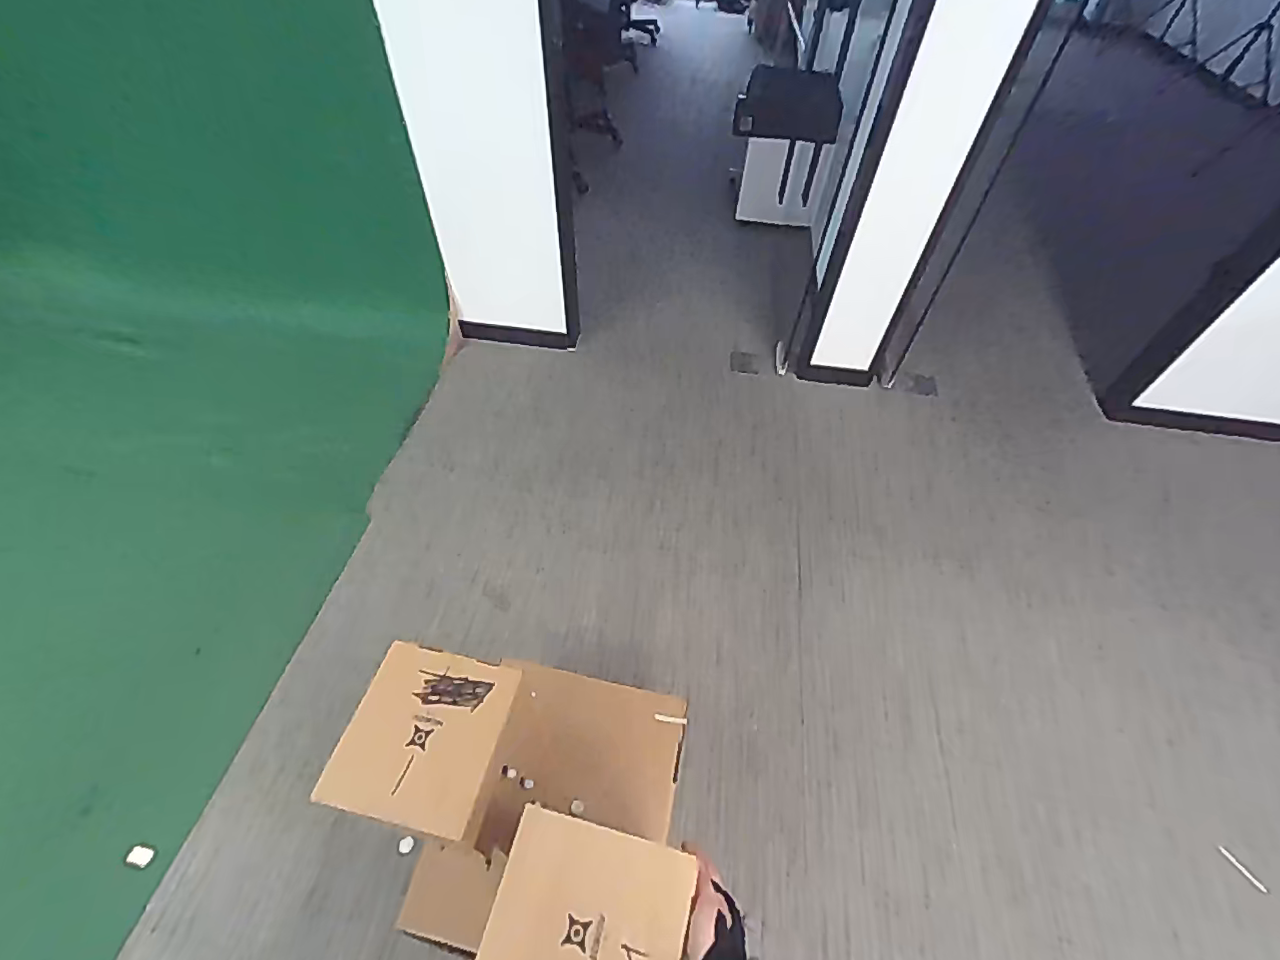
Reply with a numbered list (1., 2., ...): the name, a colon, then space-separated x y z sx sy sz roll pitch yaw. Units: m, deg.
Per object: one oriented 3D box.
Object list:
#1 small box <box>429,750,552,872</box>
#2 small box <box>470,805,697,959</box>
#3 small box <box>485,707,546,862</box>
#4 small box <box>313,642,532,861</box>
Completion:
1. small box: -0.253 0.532 0.903 0.168 0.176 0.179 11 49 7
2. small box: -0.053 0.441 0.529 0.179 0.176 0.168 13 56 7
3. small box: -0.241 0.424 0.781 0.168 0.176 0.179 11 51 7
4. small box: -0.237 0.327 0.648 0.168 0.176 0.179 11 50 7
